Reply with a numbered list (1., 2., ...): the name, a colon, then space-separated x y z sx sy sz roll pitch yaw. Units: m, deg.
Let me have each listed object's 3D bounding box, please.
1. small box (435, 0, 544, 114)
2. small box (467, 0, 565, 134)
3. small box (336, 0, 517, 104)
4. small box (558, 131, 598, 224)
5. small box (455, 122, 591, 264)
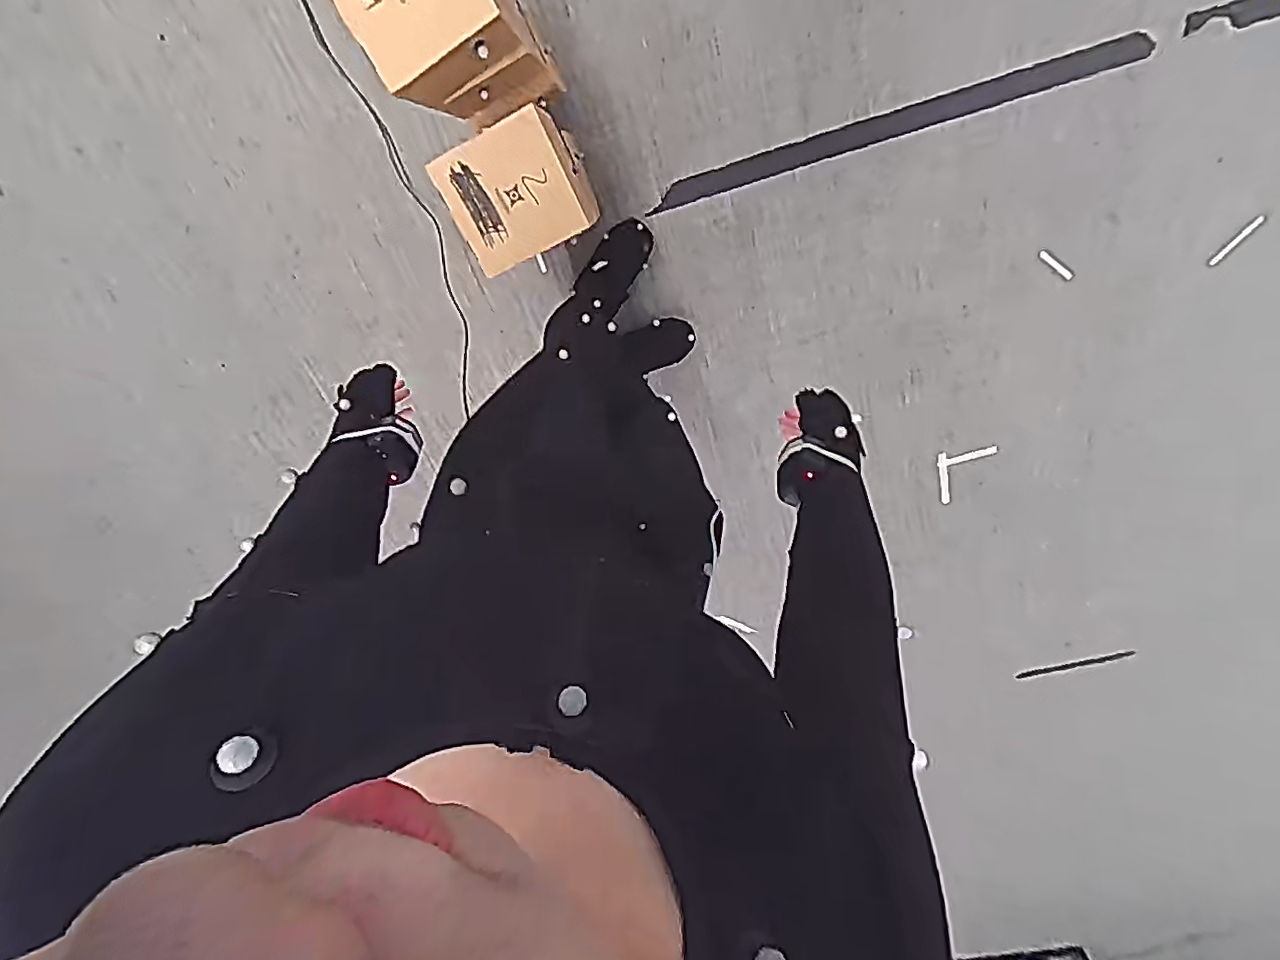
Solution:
1. small box: -0.273 -0.714 0.859 0.179 0.176 0.168 -23 118 11
2. small box: -0.259 -0.777 1.013 0.179 0.176 0.168 -23 117 12
3. small box: -0.281 -0.635 0.714 0.179 0.176 0.168 -25 117 13
4. small box: -0.193 -0.597 1.118 0.179 0.176 0.168 -16 118 10
5. small box: -0.198 -0.515 0.976 0.179 0.176 0.168 -21 117 10
